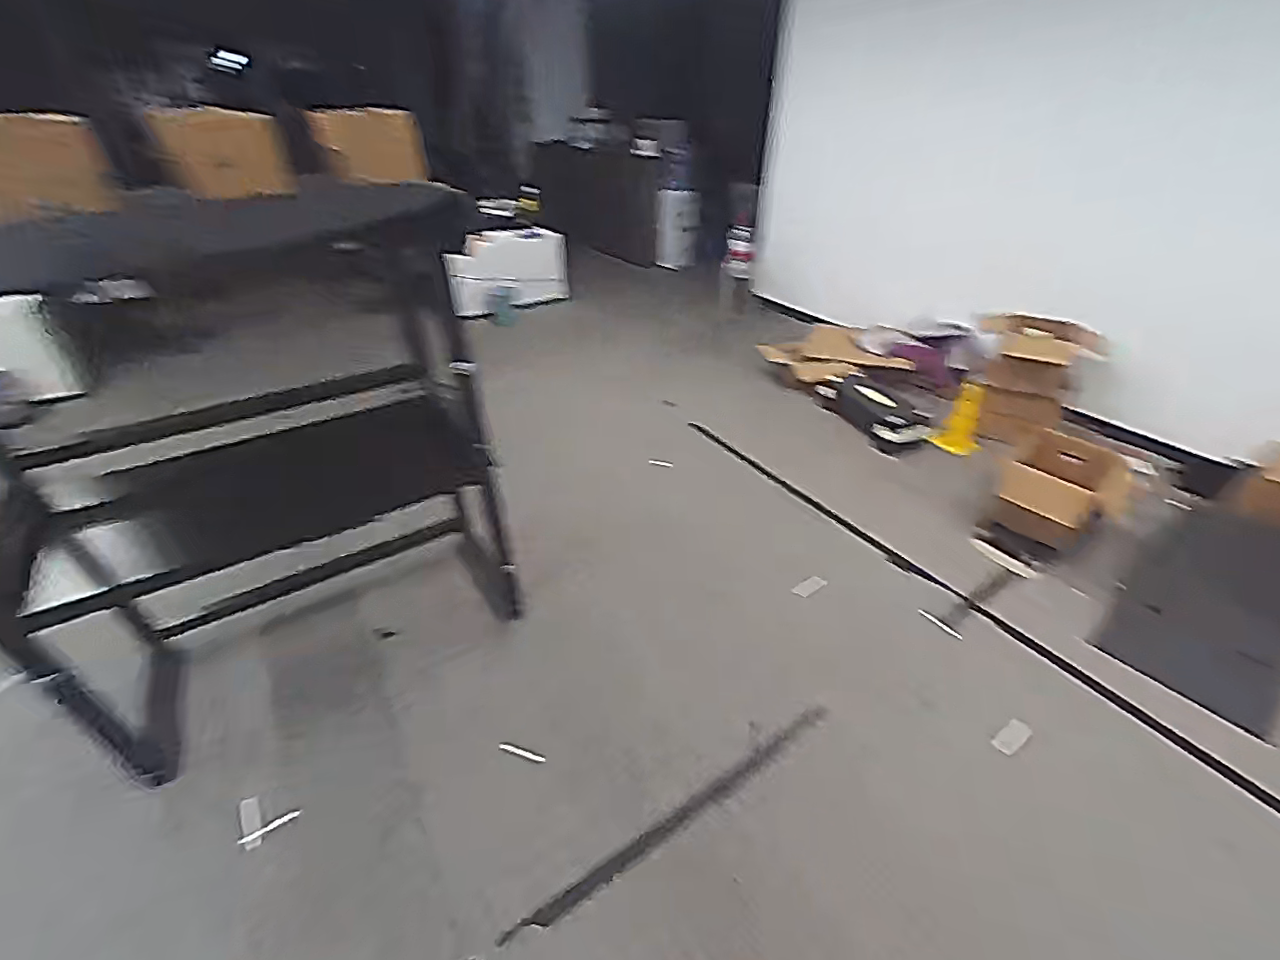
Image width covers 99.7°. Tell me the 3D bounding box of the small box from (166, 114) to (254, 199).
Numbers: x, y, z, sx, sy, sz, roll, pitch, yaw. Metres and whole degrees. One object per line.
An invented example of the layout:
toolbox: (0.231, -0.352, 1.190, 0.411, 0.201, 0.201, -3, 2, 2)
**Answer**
small box: (-1.033, -0.809, 1.352, 0.179, 0.176, 0.168, -21, 41, -26)

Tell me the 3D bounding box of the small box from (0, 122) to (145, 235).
small box: (-1.097, -0.580, 1.036, 0.179, 0.176, 0.168, -21, 40, -27)

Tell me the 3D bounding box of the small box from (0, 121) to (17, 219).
small box: (-1.384, -0.658, 1.147, 0.168, 0.176, 0.179, -27, 43, -30)

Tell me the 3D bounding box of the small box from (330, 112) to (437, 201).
small box: (-0.606, -0.771, 1.290, 0.168, 0.176, 0.179, -25, 41, -30)

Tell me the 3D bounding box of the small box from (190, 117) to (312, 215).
small box: (-0.841, -0.683, 1.176, 0.168, 0.176, 0.179, -23, 40, -27)
